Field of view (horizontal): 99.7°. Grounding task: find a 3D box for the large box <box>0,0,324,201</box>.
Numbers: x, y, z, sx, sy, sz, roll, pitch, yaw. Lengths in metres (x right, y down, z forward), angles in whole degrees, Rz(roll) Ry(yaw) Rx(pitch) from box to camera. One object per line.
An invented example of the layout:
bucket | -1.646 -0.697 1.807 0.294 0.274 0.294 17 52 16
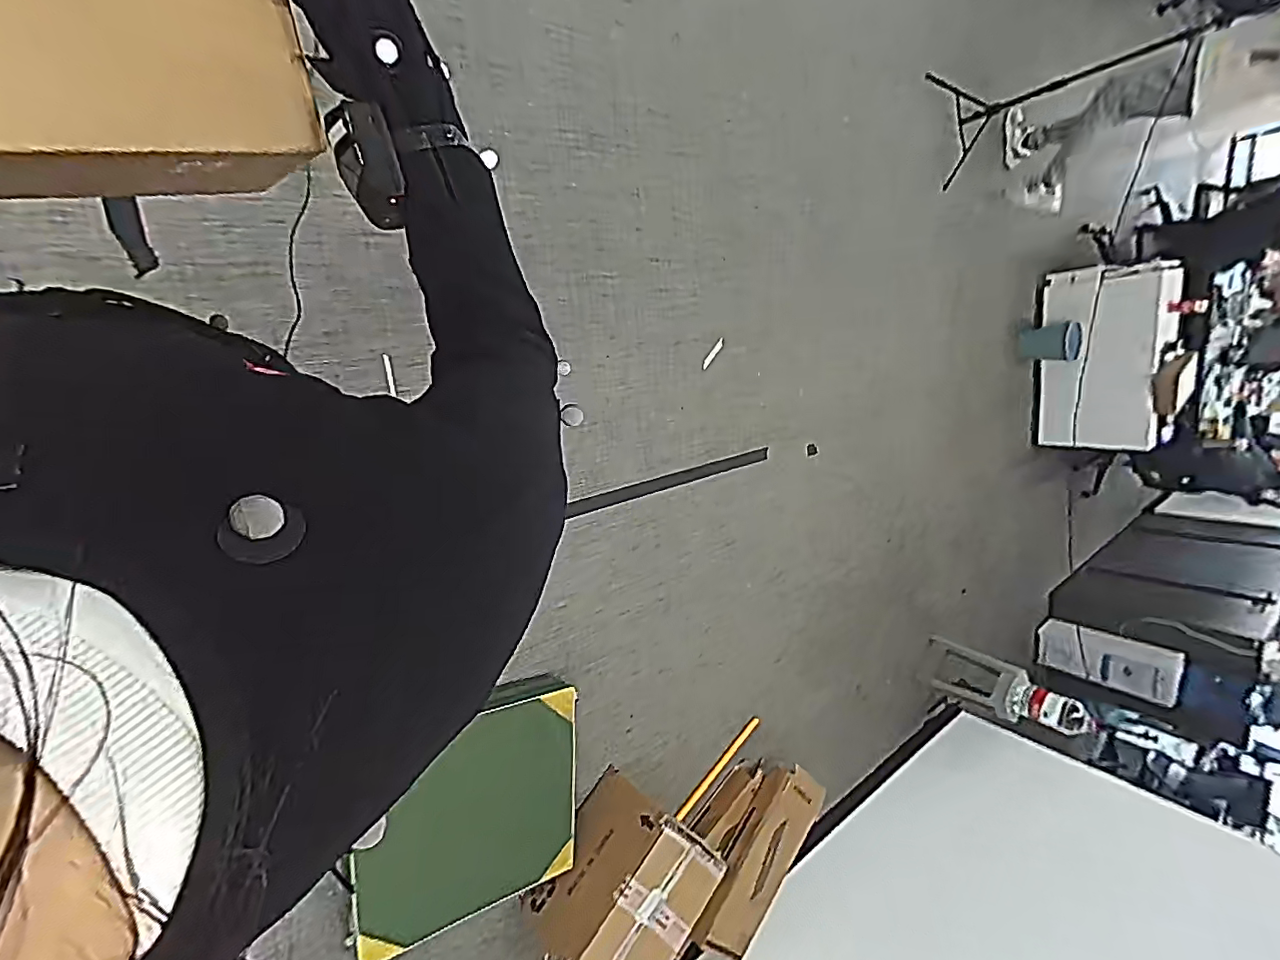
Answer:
large box | -0.479 -0.343 0.310 0.408 0.320 0.320 -24 123 -34
